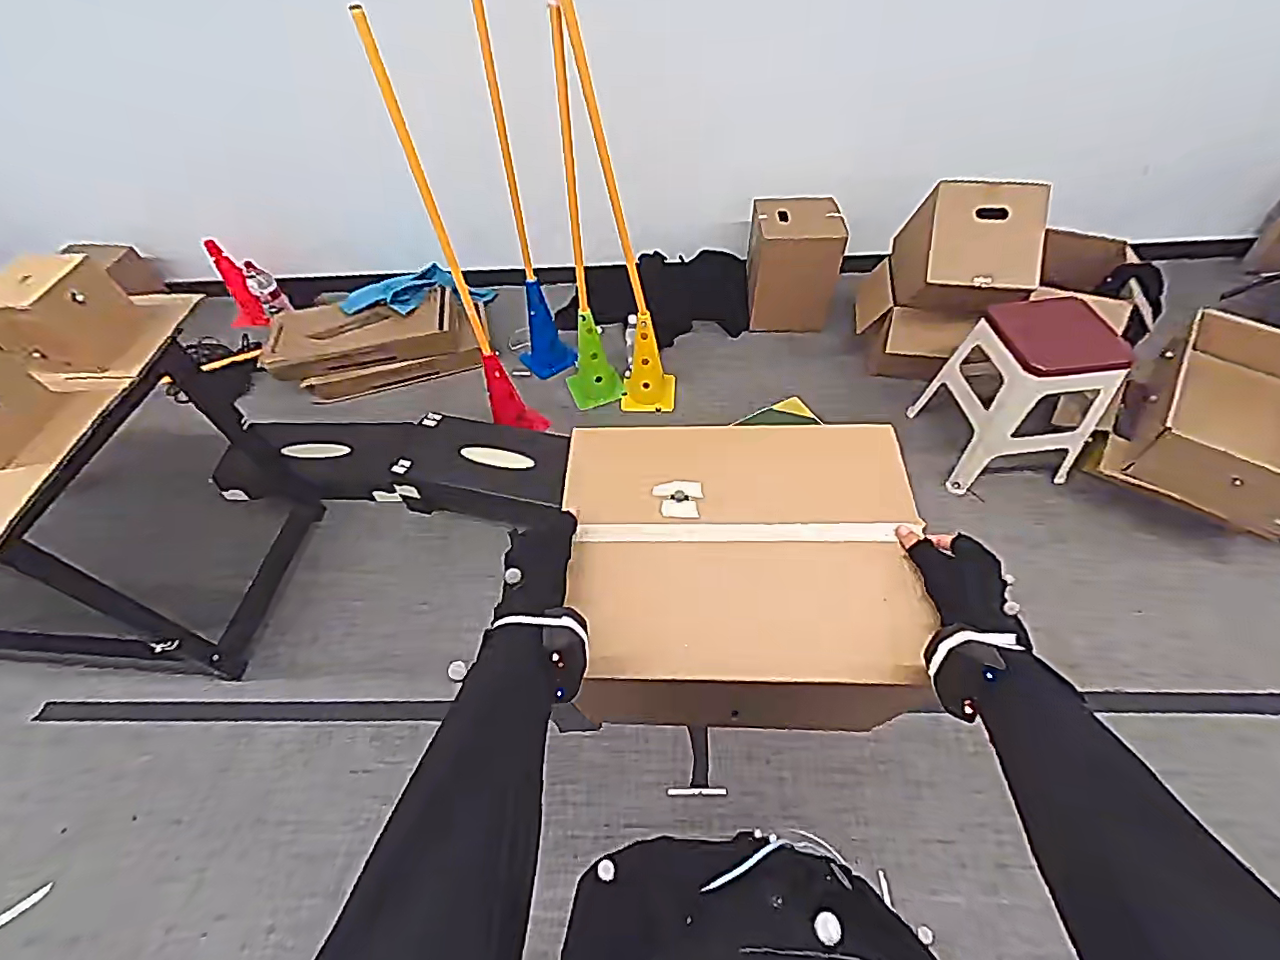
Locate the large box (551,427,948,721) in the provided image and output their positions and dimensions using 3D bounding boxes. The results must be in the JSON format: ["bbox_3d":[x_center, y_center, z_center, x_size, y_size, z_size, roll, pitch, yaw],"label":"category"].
[{"bbox_3d":[0.123,0.145,0.746,0.408,0.320,0.320,-1,57,6],"label":"large box"}]
